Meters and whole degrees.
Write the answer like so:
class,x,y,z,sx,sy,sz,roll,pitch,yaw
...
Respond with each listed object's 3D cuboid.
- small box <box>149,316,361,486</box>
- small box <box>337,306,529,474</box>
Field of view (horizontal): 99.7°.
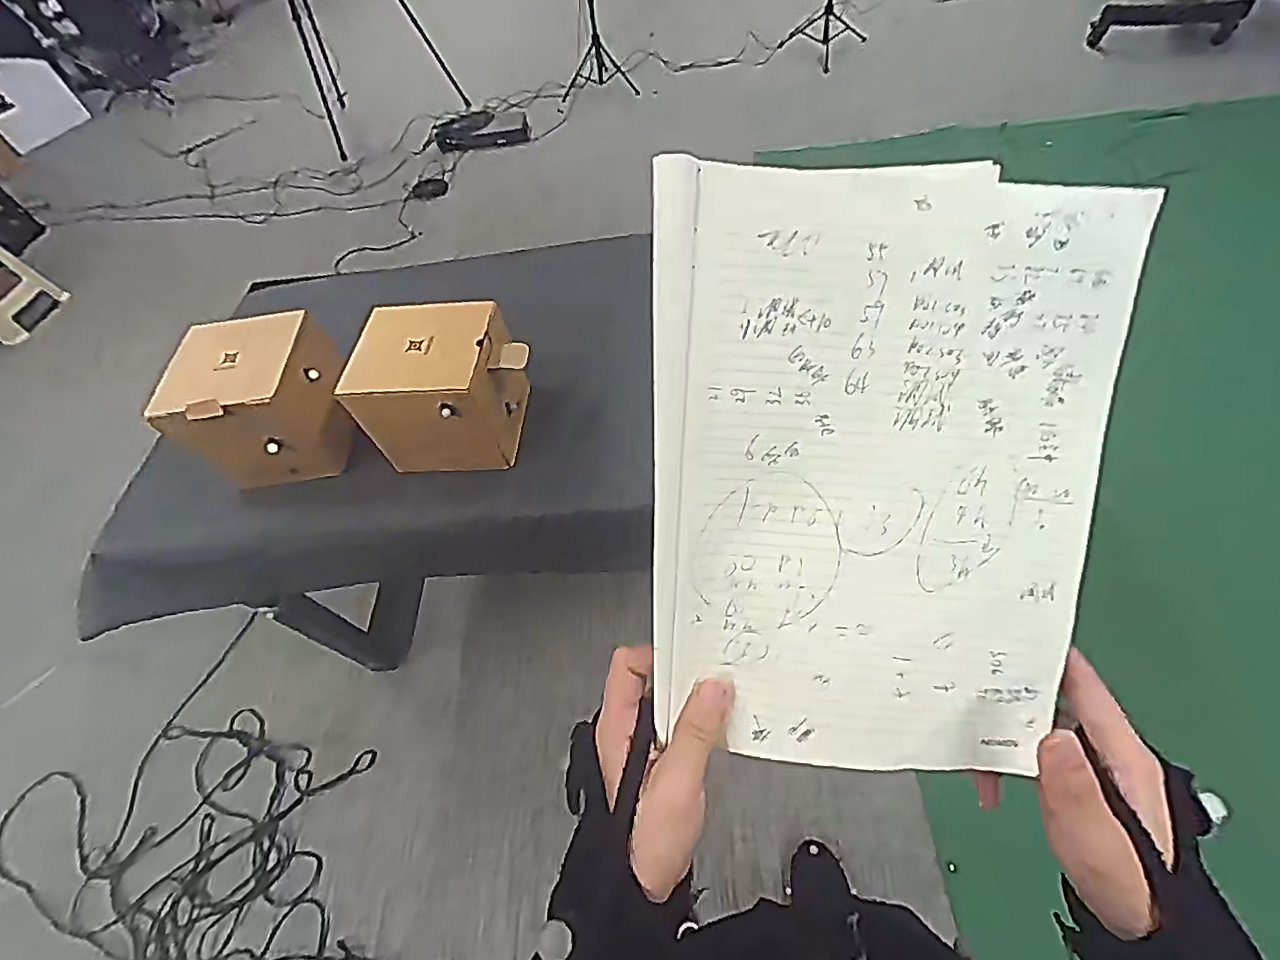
class,x,y,z,sx,sy,sz,roll,pitch,yaw
small box,-0.531,-0.105,0.781,0.168,0.176,0.179,-8,54,0
small box,-0.273,-0.120,0.759,0.179,0.176,0.168,-1,55,6
